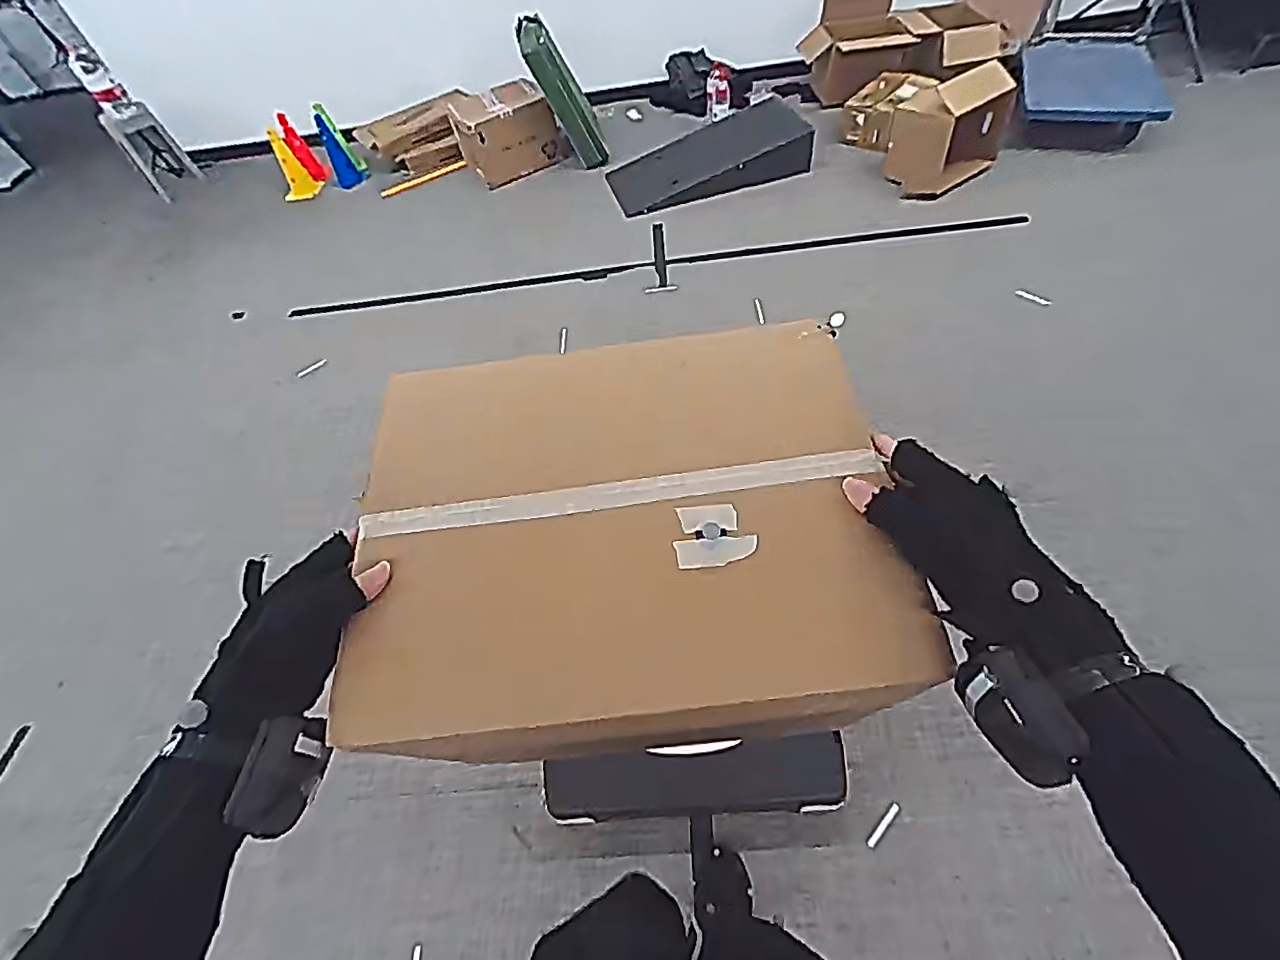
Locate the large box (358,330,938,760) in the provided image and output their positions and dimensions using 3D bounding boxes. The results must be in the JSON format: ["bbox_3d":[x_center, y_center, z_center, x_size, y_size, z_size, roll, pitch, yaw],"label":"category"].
[{"bbox_3d":[0.000,0.090,0.563,0.408,0.320,0.320,-7,61,2],"label":"large box"}]
